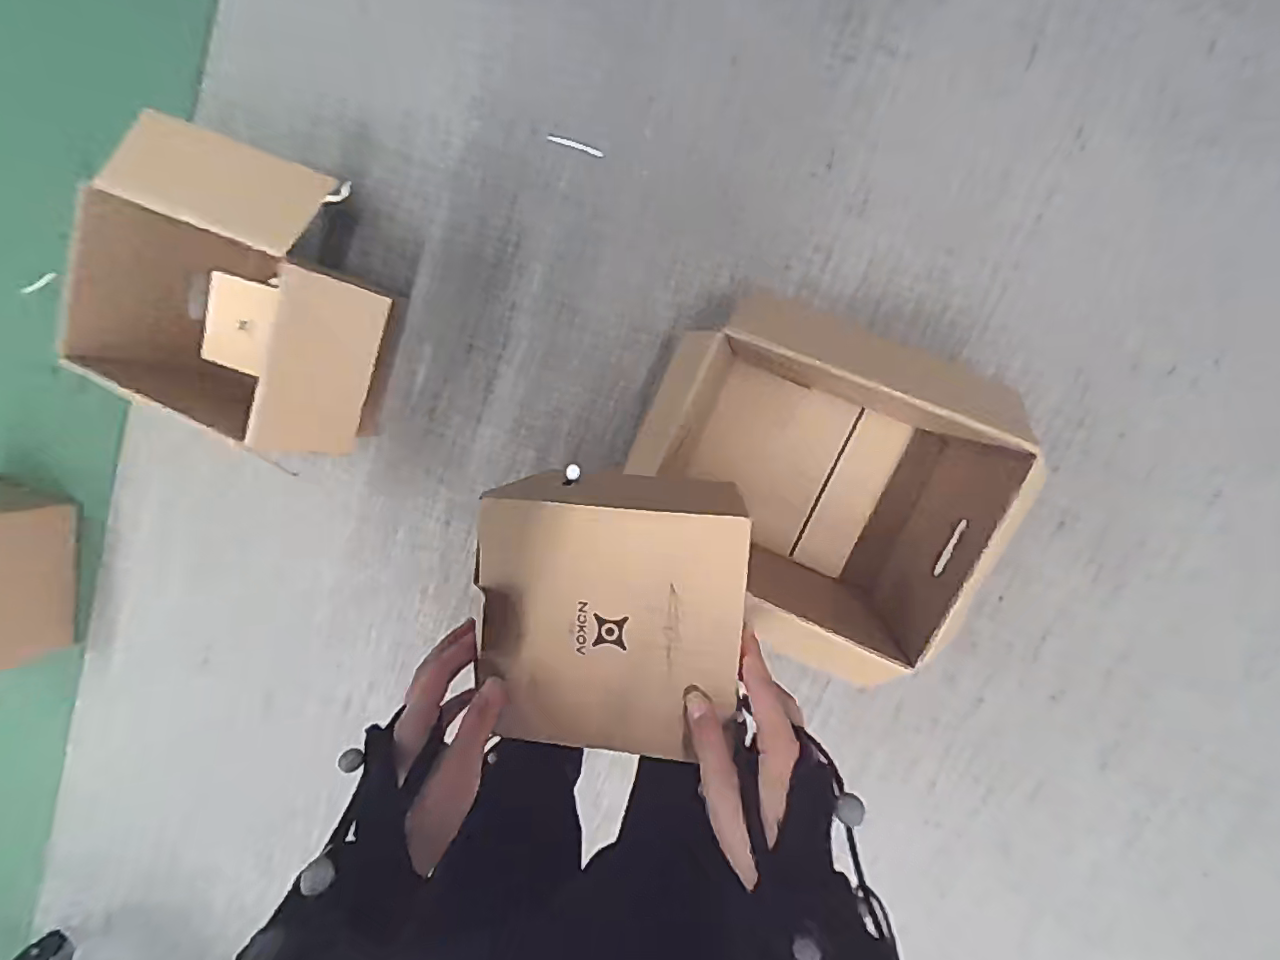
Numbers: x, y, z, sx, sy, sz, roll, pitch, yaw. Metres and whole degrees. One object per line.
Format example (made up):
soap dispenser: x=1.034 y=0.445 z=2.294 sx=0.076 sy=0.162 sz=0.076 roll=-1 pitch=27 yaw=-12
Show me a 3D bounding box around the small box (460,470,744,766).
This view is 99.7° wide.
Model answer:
small box: x=-0.019 y=0.084 z=0.417 sx=0.179 sy=0.176 sz=0.168 roll=3 pitch=97 yaw=6
